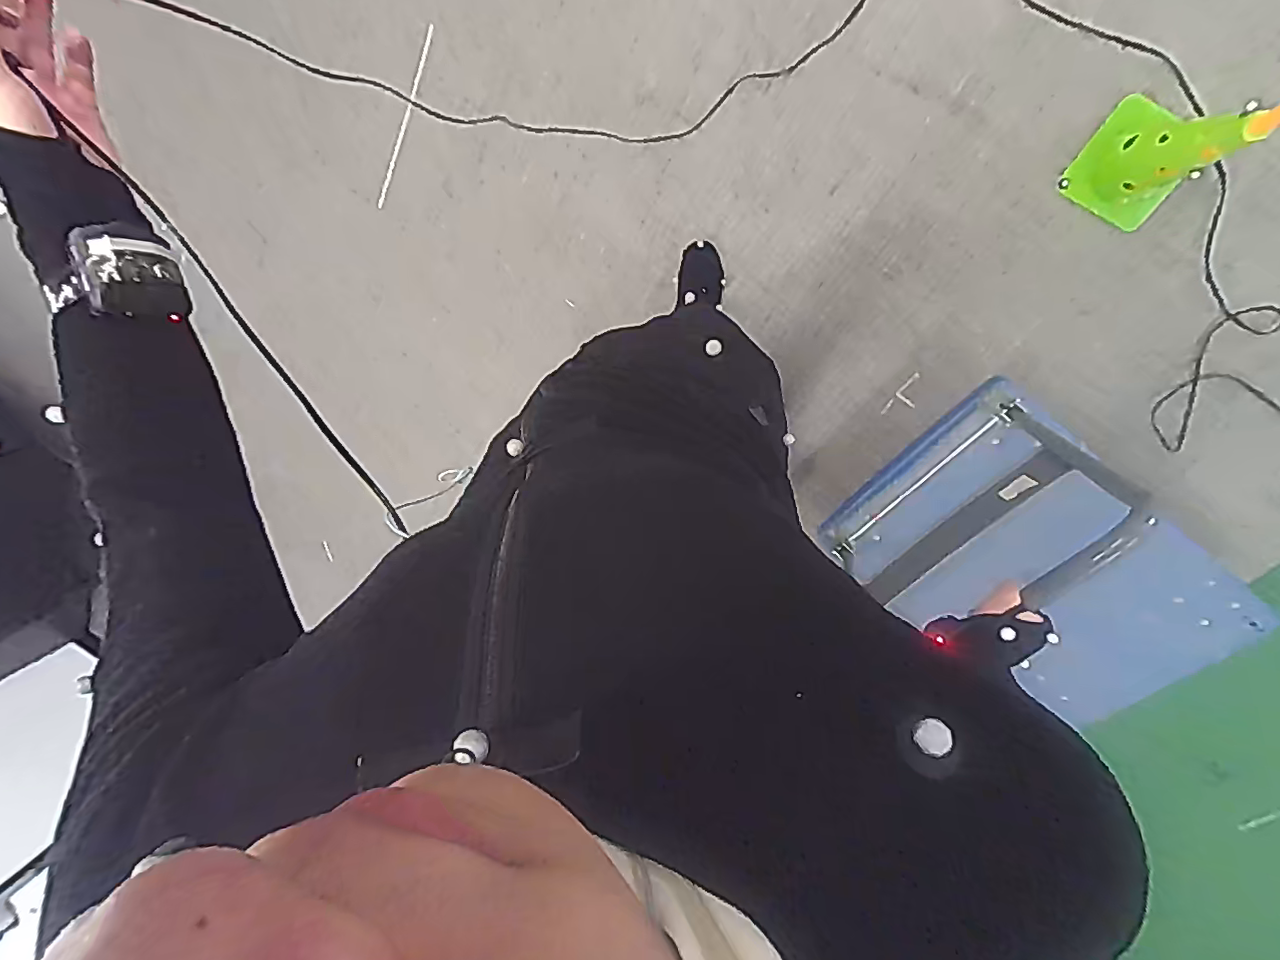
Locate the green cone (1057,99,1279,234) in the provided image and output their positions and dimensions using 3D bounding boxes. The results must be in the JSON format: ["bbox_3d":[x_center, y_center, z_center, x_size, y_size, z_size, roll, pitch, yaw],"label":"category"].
[{"bbox_3d":[0.980,-0.588,0.970,0.200,0.368,0.202,31,115,1],"label":"green cone"}]
